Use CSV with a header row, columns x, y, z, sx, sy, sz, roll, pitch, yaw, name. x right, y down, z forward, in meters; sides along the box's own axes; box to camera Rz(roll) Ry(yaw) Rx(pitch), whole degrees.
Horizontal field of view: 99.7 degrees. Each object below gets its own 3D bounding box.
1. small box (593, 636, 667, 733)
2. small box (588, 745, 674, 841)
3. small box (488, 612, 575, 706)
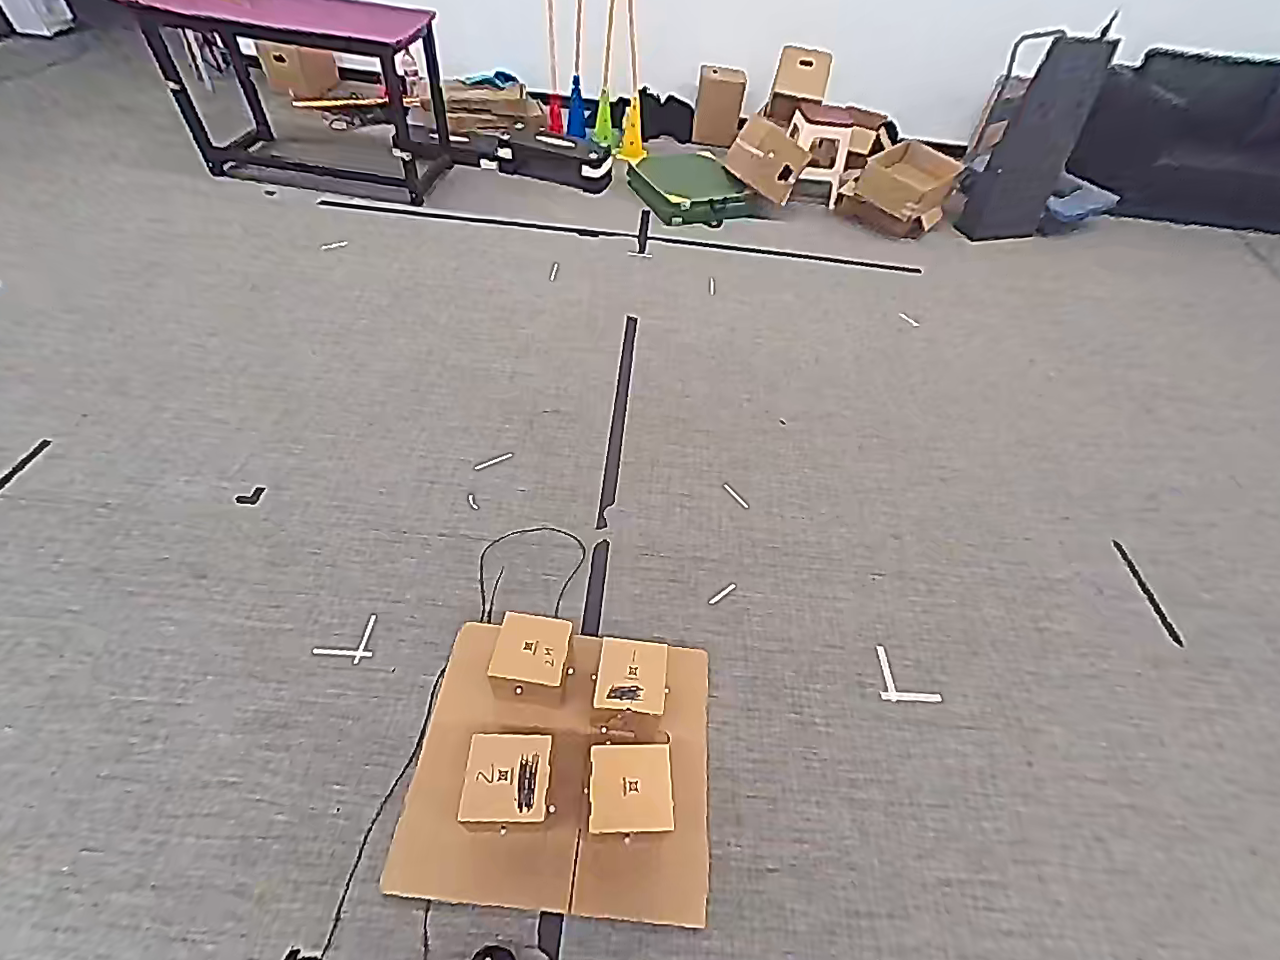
x,y,z,sx,sy,sz,roll,pitch,yaw,name
-0.025,0.521,1.367,0.168,0.176,0.179,7,49,0,small box
-0.025,0.704,1.217,0.179,0.176,0.168,1,51,-4,small box
-0.270,0.461,1.382,0.179,0.176,0.168,10,50,1,small box
